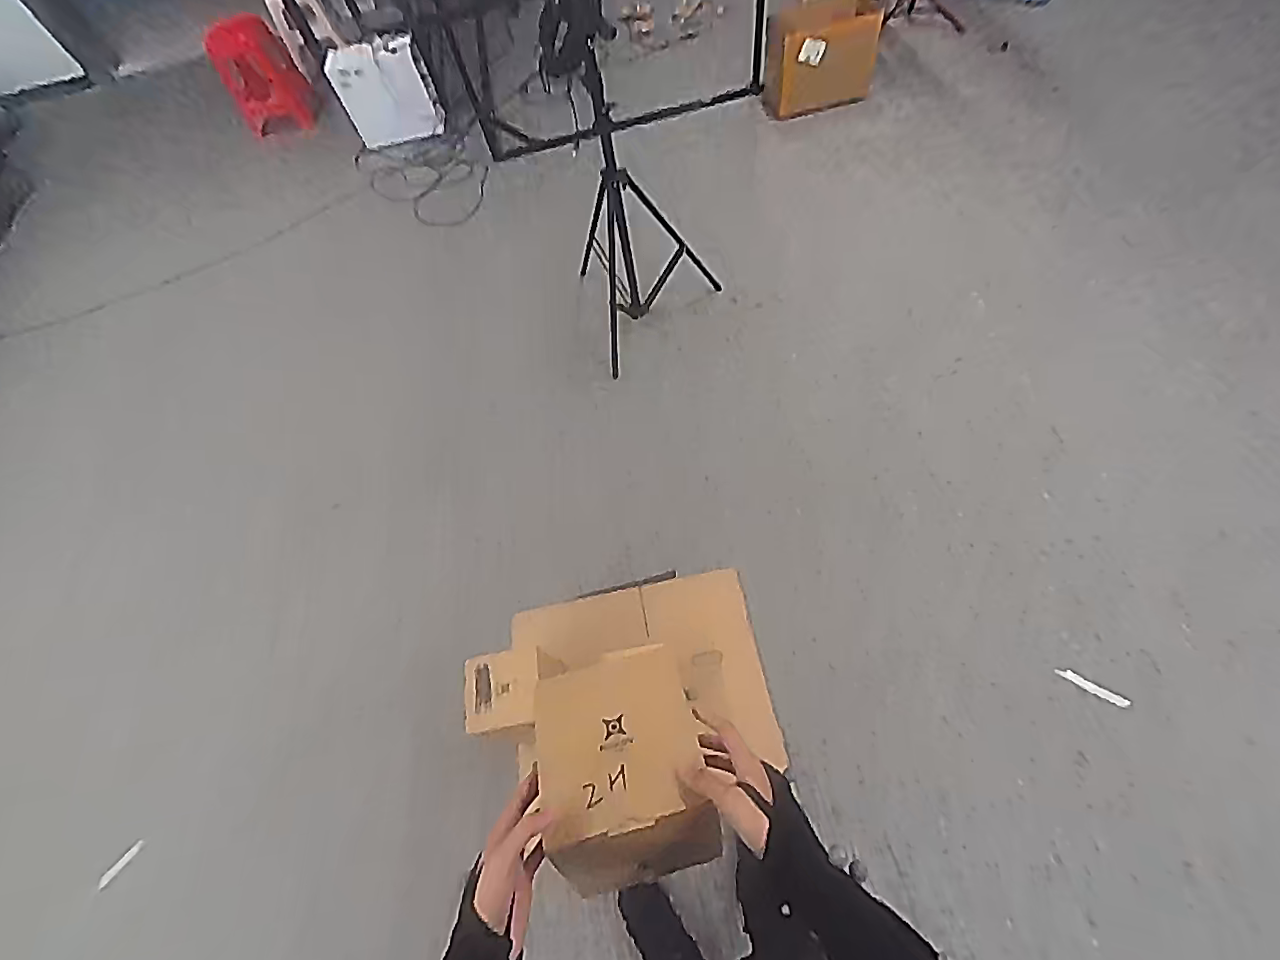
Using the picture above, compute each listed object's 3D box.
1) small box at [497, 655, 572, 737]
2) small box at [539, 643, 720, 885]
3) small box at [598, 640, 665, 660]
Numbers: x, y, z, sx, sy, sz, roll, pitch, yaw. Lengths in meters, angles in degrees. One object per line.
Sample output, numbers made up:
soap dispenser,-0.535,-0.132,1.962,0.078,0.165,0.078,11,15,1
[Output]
small box,-0.265,0.577,1.436,0.179,0.176,0.168,-13,61,3
small box,-0.012,0.321,0.617,0.168,0.176,0.179,-14,41,-3
small box,-0.004,0.530,1.424,0.179,0.176,0.168,-11,61,3
